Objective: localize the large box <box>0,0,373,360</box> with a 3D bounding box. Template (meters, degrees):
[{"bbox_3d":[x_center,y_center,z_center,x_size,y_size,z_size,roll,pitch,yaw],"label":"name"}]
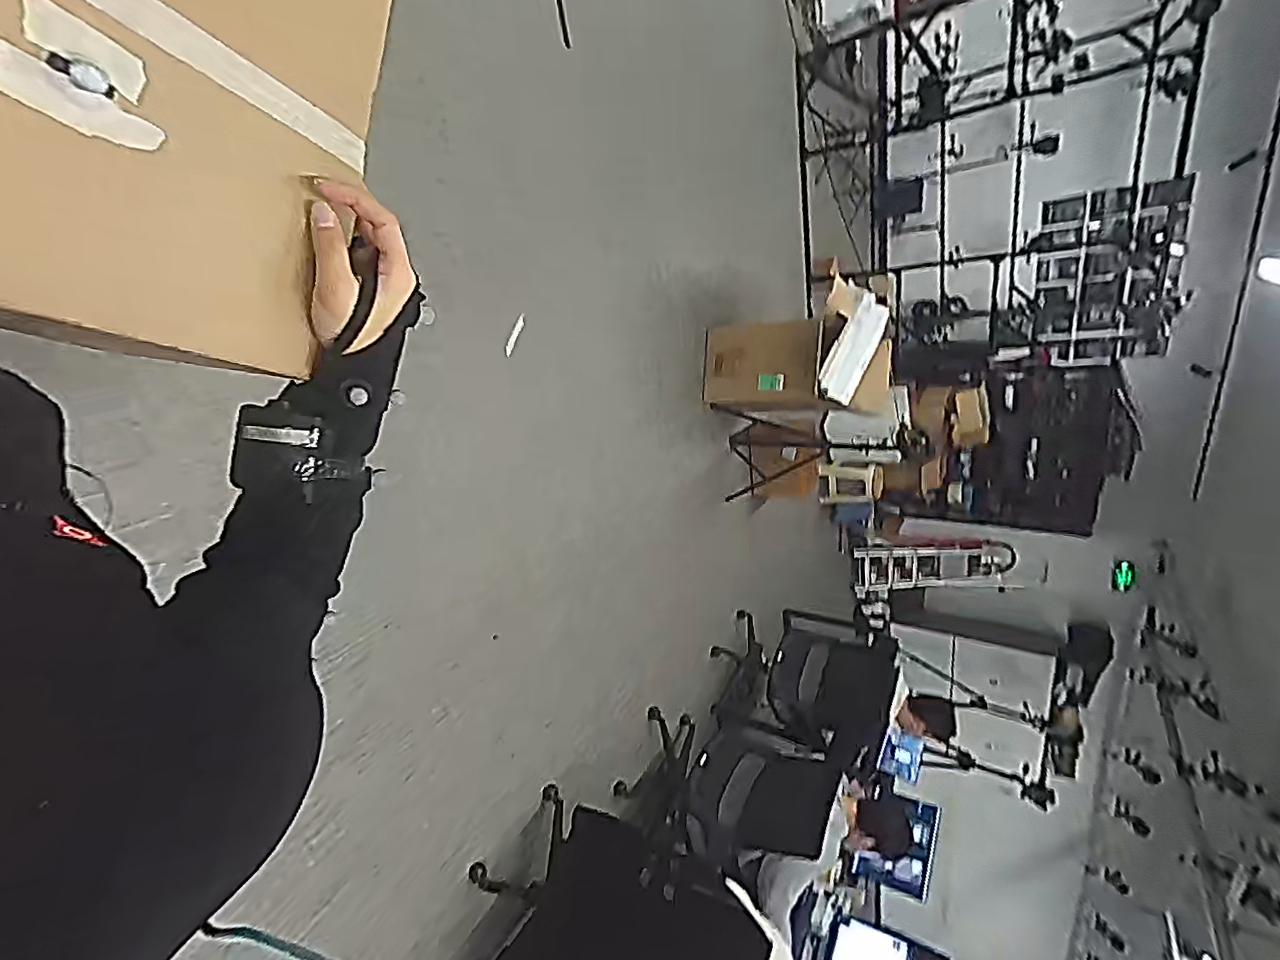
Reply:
[{"bbox_3d":[-0.425,-0.267,0.268,0.408,0.320,0.320,8,94,-64],"label":"large box"}]
